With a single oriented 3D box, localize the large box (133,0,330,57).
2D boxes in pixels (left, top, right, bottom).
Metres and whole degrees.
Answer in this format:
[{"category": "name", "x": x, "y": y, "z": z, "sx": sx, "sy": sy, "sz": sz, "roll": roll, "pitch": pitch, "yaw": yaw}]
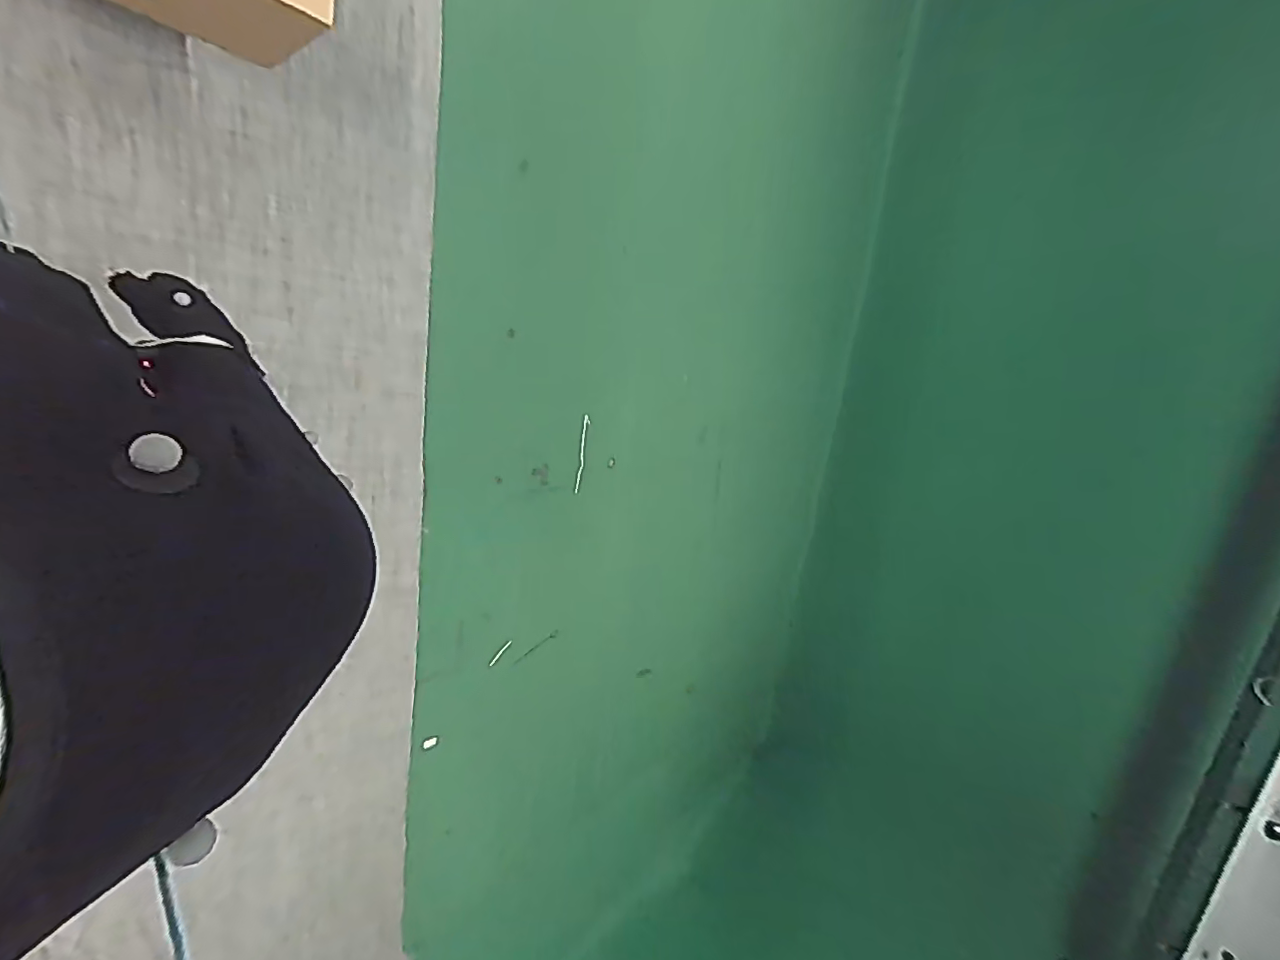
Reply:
[{"category": "large box", "x": -0.700, "y": -0.887, "z": 0.755, "sx": 0.408, "sy": 0.320, "sz": 0.320, "roll": -5, "pitch": 109, "yaw": -49}]
